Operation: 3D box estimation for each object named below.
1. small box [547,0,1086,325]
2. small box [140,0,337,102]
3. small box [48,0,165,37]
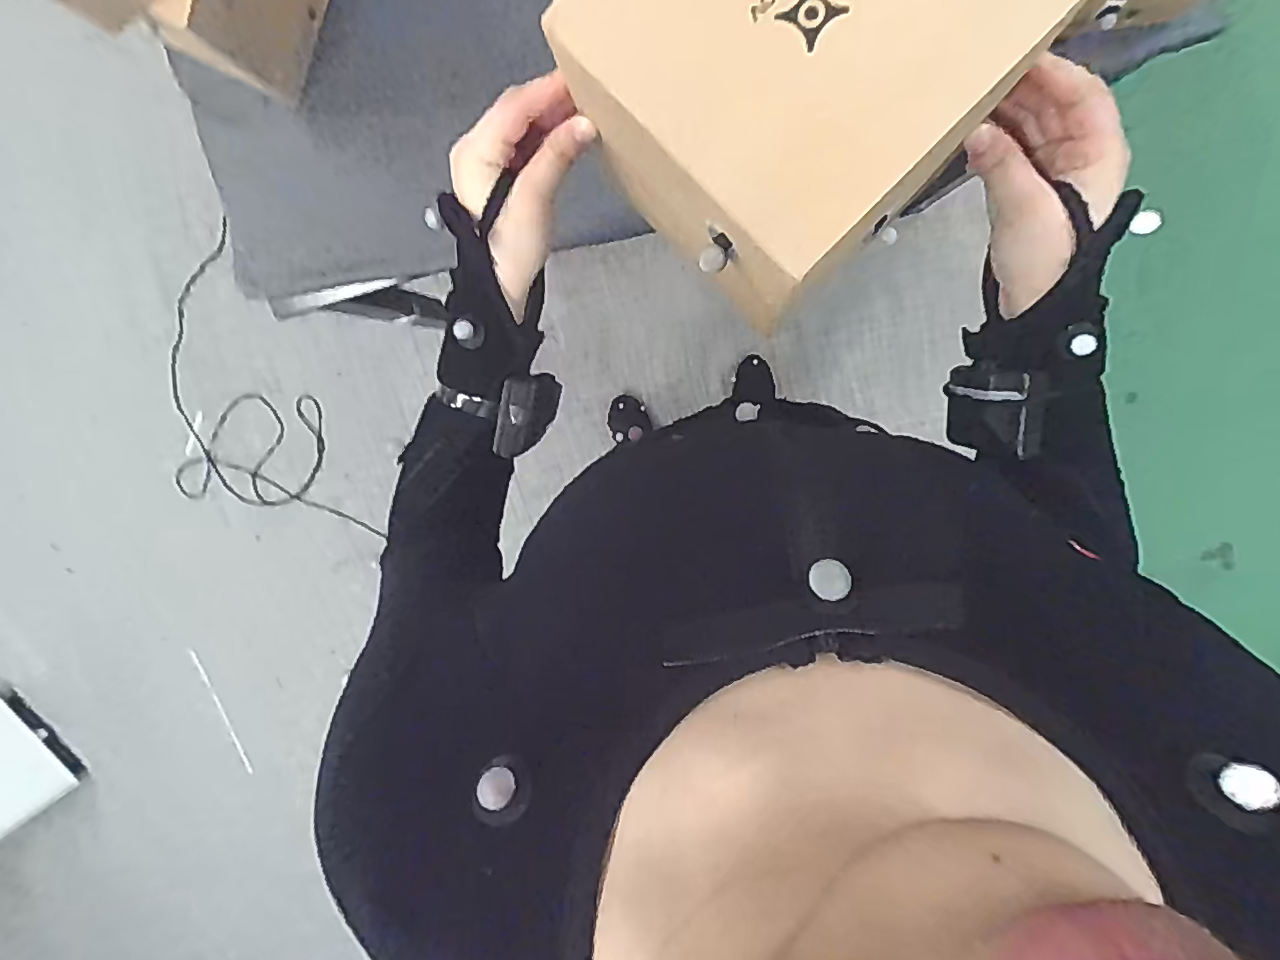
[{"bbox_3d":[0.083,-0.213,0.318,0.168,0.176,0.179,-44,86,9],"label":"small box"},{"bbox_3d":[-0.483,-0.565,0.595,0.179,0.176,0.168,26,102,-2],"label":"small box"},{"bbox_3d":[-0.493,-0.528,0.435,0.179,0.176,0.168,-32,98,10],"label":"small box"}]
